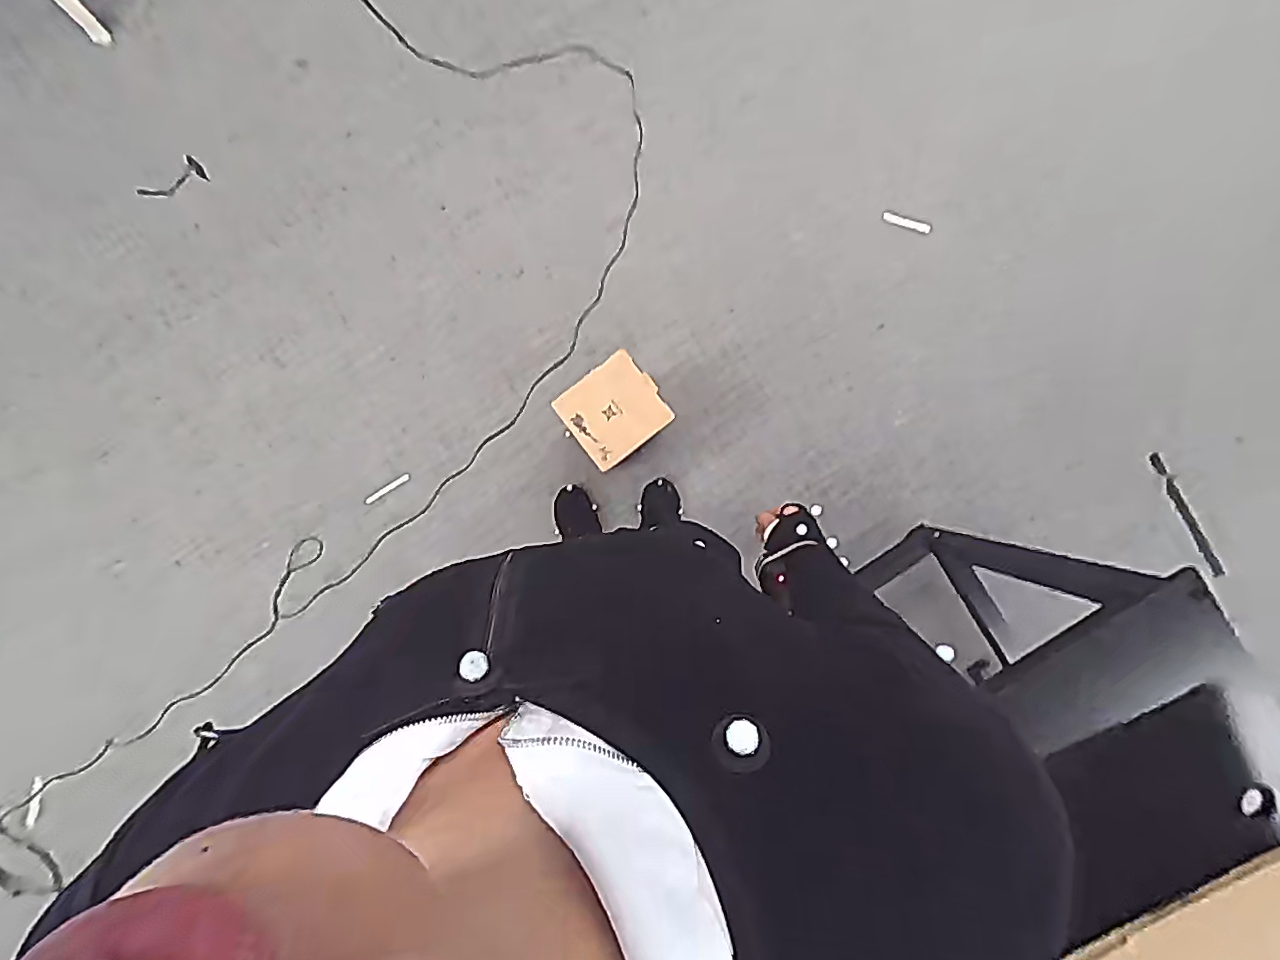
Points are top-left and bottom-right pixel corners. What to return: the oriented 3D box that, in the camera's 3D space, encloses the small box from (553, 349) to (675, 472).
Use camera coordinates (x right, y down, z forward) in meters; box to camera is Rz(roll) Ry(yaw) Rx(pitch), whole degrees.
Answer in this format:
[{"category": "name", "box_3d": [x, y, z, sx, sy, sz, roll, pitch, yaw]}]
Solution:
[{"category": "small box", "box_3d": [-0.053, -0.133, 1.092, 0.179, 0.176, 0.168, -38, 92, -1]}]
